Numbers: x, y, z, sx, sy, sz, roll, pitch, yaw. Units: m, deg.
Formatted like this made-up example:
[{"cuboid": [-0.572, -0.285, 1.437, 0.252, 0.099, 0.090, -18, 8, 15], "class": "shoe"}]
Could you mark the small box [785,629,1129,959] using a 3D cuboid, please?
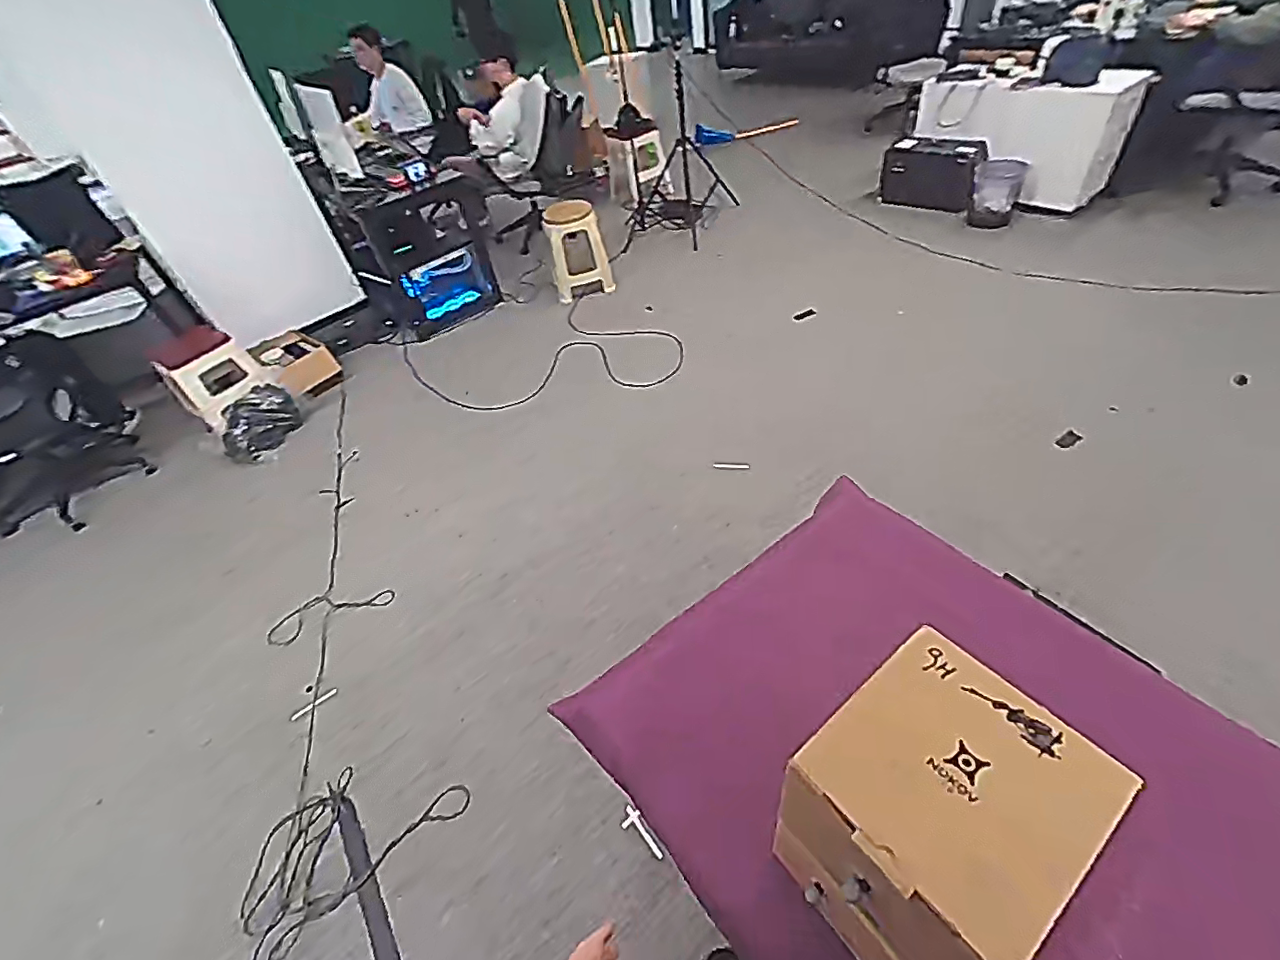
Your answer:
[{"cuboid": [0.242, 0.271, 0.456, 0.179, 0.176, 0.168, -33, 49, -20], "class": "small box"}]

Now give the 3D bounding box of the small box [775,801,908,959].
[{"cuboid": [0.261, 0.388, 0.569, 0.179, 0.176, 0.168, -31, 48, -20], "class": "small box"}]
